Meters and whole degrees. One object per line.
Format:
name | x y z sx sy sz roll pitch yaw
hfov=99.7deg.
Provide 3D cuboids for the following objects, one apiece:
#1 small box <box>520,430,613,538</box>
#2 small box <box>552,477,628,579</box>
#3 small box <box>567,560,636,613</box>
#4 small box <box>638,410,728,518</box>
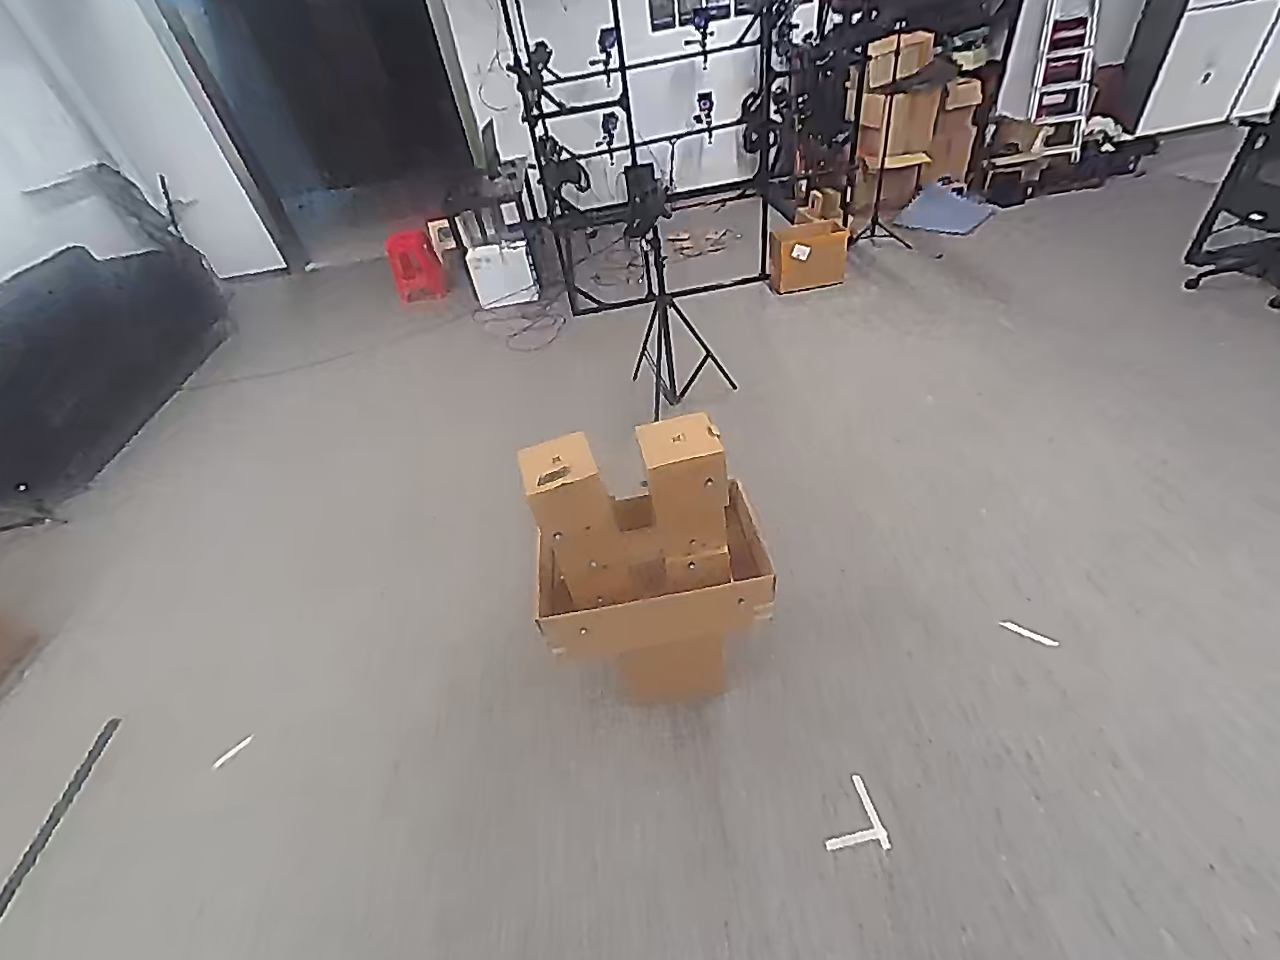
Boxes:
small box | -0.171 0.016 1.275 0.168 0.176 0.179 -18 42 -7
small box | -0.138 0.124 1.395 0.168 0.176 0.179 -16 42 -5
small box | -0.118 0.239 1.511 0.168 0.176 0.179 -17 42 -5
small box | 0.102 -0.036 1.269 0.179 0.176 0.168 -13 40 -3
